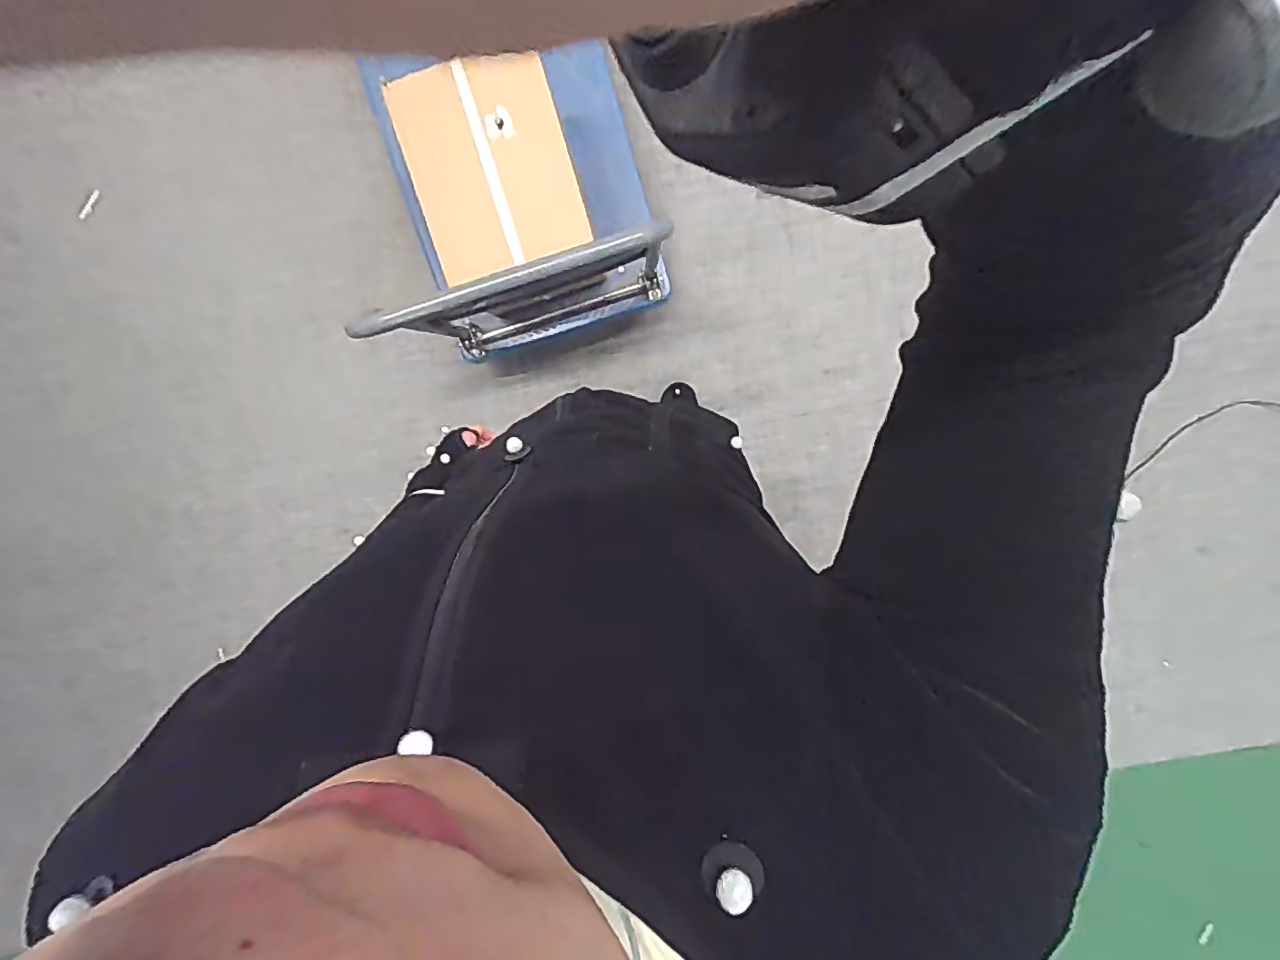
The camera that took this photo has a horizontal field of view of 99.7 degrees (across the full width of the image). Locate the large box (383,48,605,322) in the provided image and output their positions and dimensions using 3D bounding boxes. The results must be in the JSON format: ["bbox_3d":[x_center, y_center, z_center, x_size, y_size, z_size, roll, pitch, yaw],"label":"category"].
[{"bbox_3d":[-0.293,-0.617,1.215,0.320,0.320,0.408,-17,97,3],"label":"large box"}]
